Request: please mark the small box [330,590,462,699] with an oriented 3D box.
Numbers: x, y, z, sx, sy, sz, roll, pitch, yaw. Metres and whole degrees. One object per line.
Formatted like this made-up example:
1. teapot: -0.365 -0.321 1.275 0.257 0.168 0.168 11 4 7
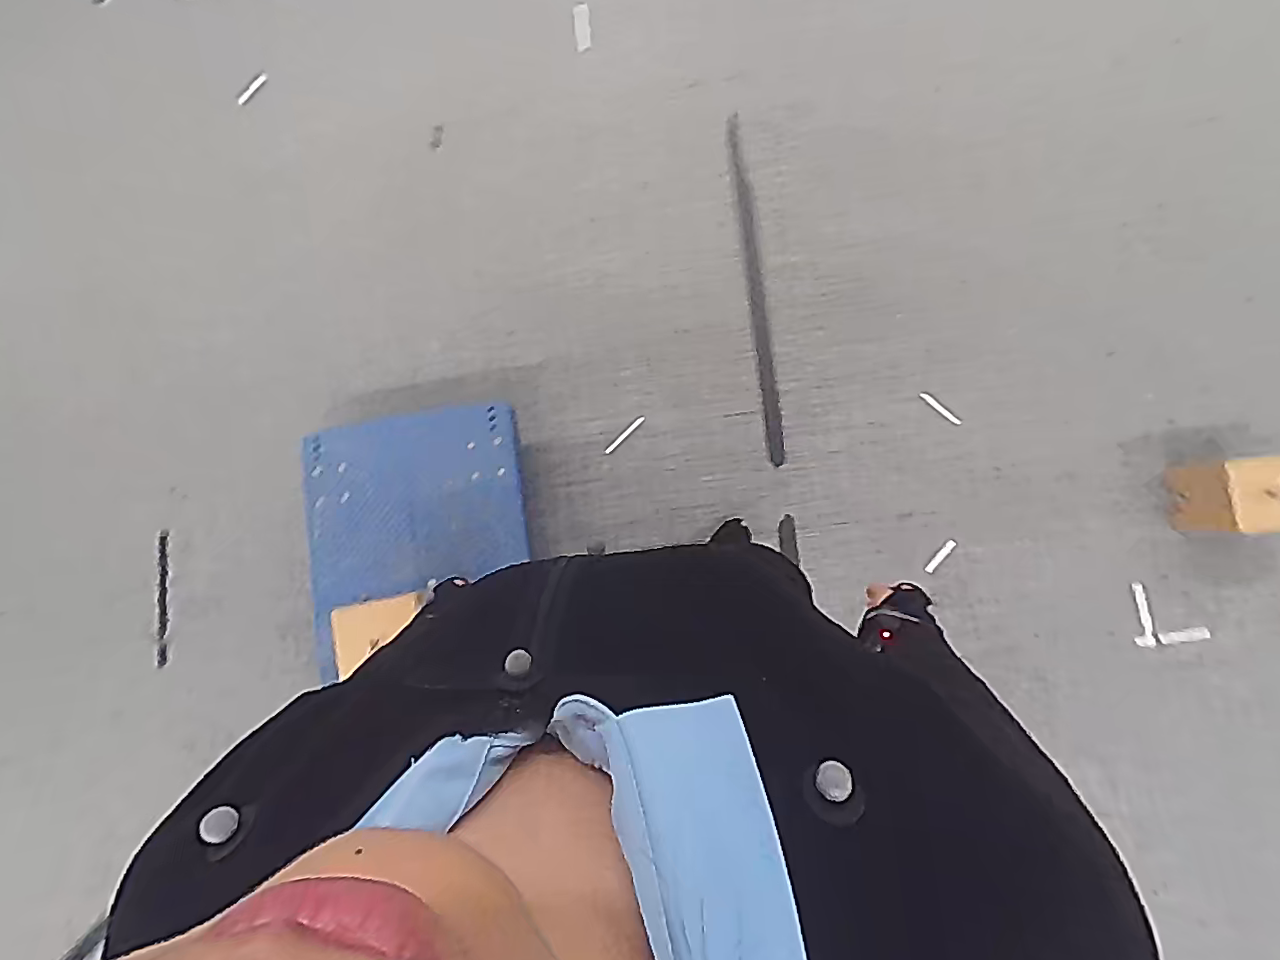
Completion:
1. small box: -0.489 0.325 1.099 0.179 0.176 0.168 -12 84 3
